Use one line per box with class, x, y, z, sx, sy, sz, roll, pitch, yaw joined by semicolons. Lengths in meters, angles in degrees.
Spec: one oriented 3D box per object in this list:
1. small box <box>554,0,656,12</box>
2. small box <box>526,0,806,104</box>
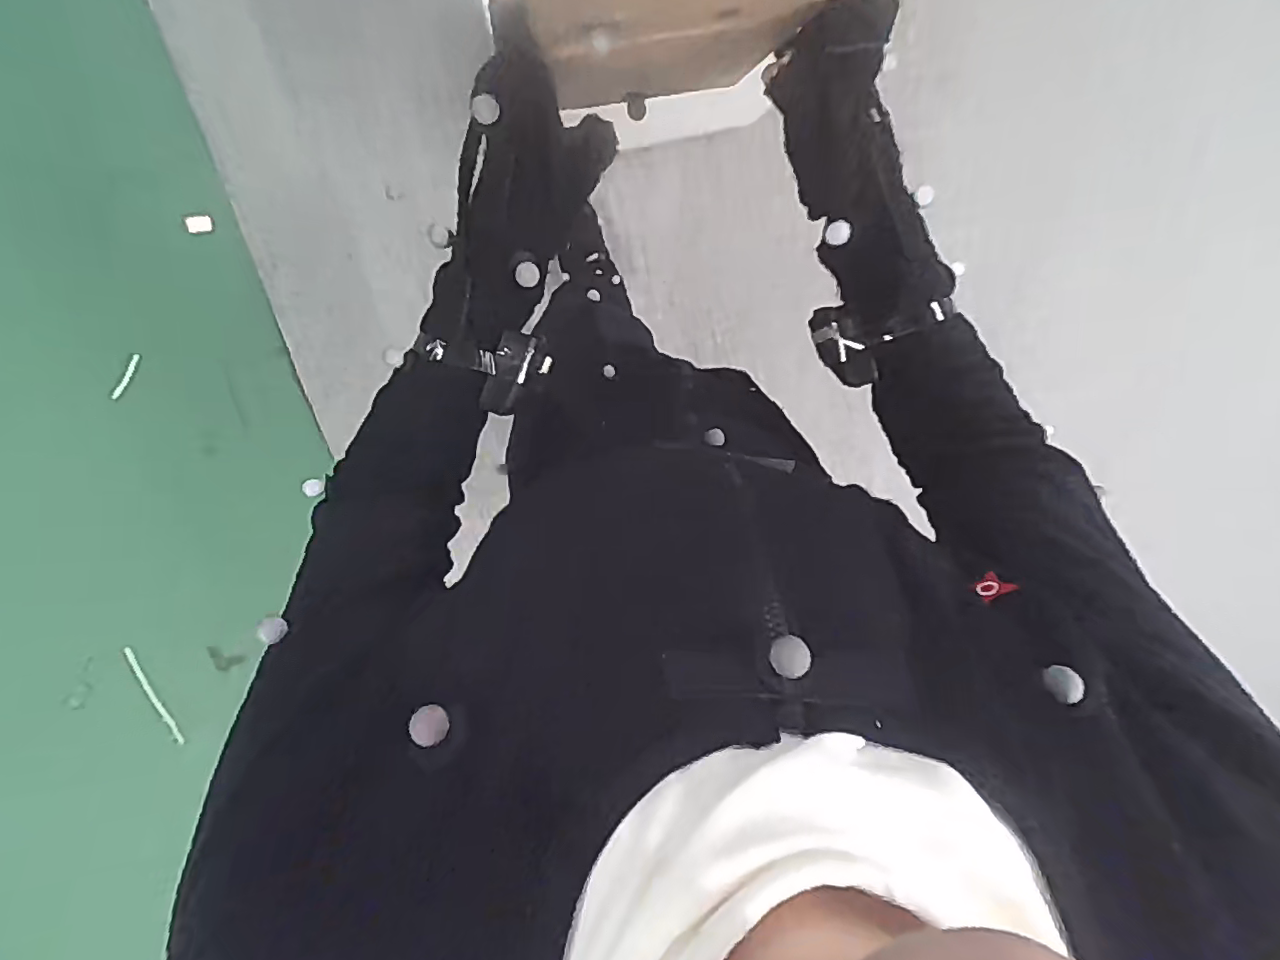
small box;0.017;-0.315;0.203;0.168;0.176;0.179;-10;113;-3
small box;-0.002;-0.378;0.354;0.168;0.176;0.179;-11;115;-2
